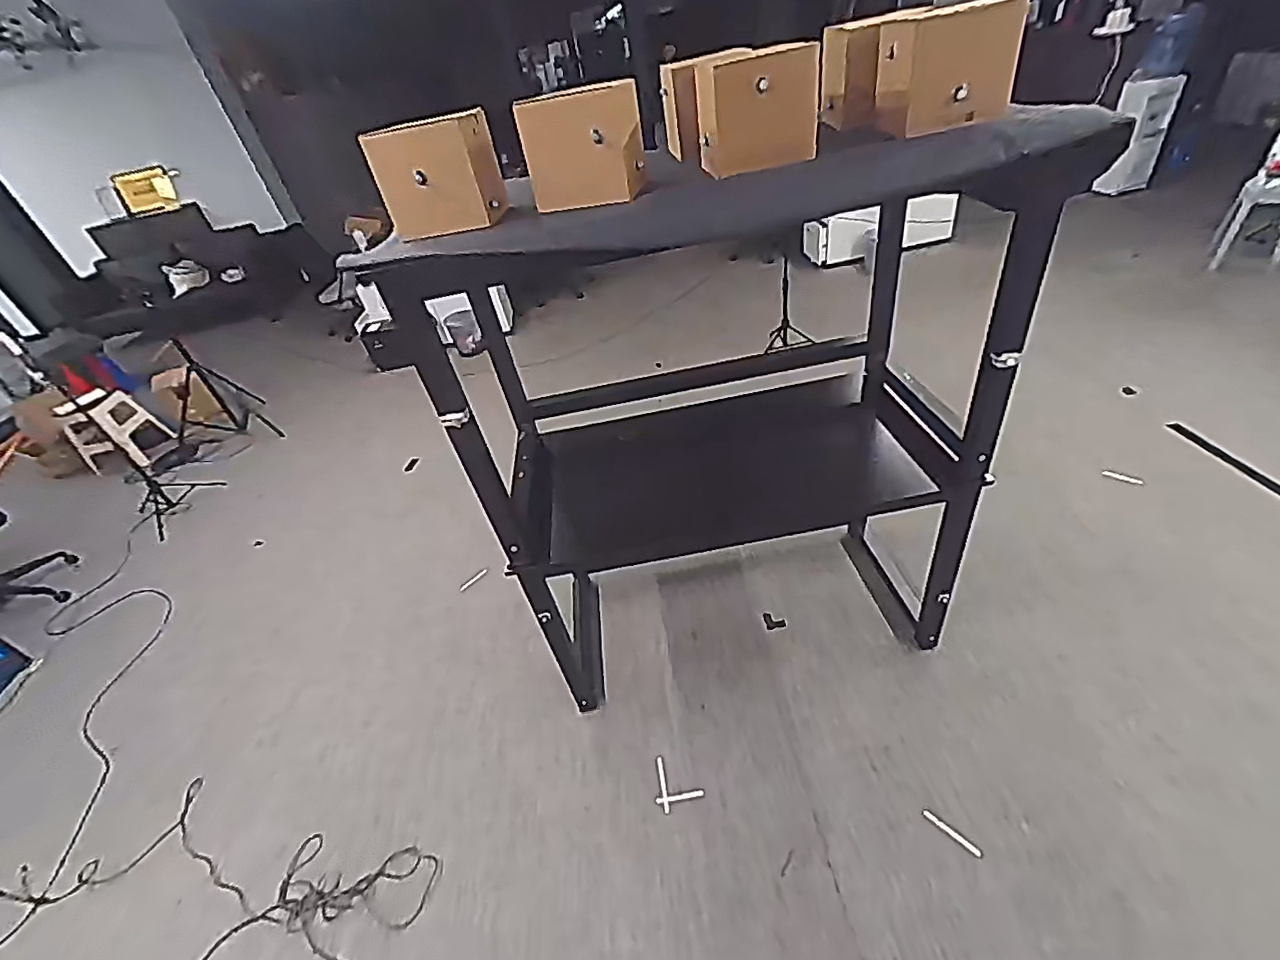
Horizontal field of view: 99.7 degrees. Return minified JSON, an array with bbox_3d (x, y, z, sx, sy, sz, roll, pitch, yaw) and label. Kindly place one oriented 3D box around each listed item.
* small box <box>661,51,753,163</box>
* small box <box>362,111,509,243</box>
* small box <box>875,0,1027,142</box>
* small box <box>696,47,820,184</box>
[{"bbox_3d":[0.145,-0.798,1.160,0.168,0.176,0.179,-12,39,2],"label":"small box"},{"bbox_3d":[-0.358,-0.553,0.988,0.179,0.176,0.168,-7,37,7],"label":"small box"},{"bbox_3d":[0.525,-0.708,0.945,0.168,0.176,0.179,-7,39,8],"label":"small box"},{"bbox_3d":[0.206,-0.650,0.965,0.179,0.176,0.168,-12,38,2],"label":"small box"}]
